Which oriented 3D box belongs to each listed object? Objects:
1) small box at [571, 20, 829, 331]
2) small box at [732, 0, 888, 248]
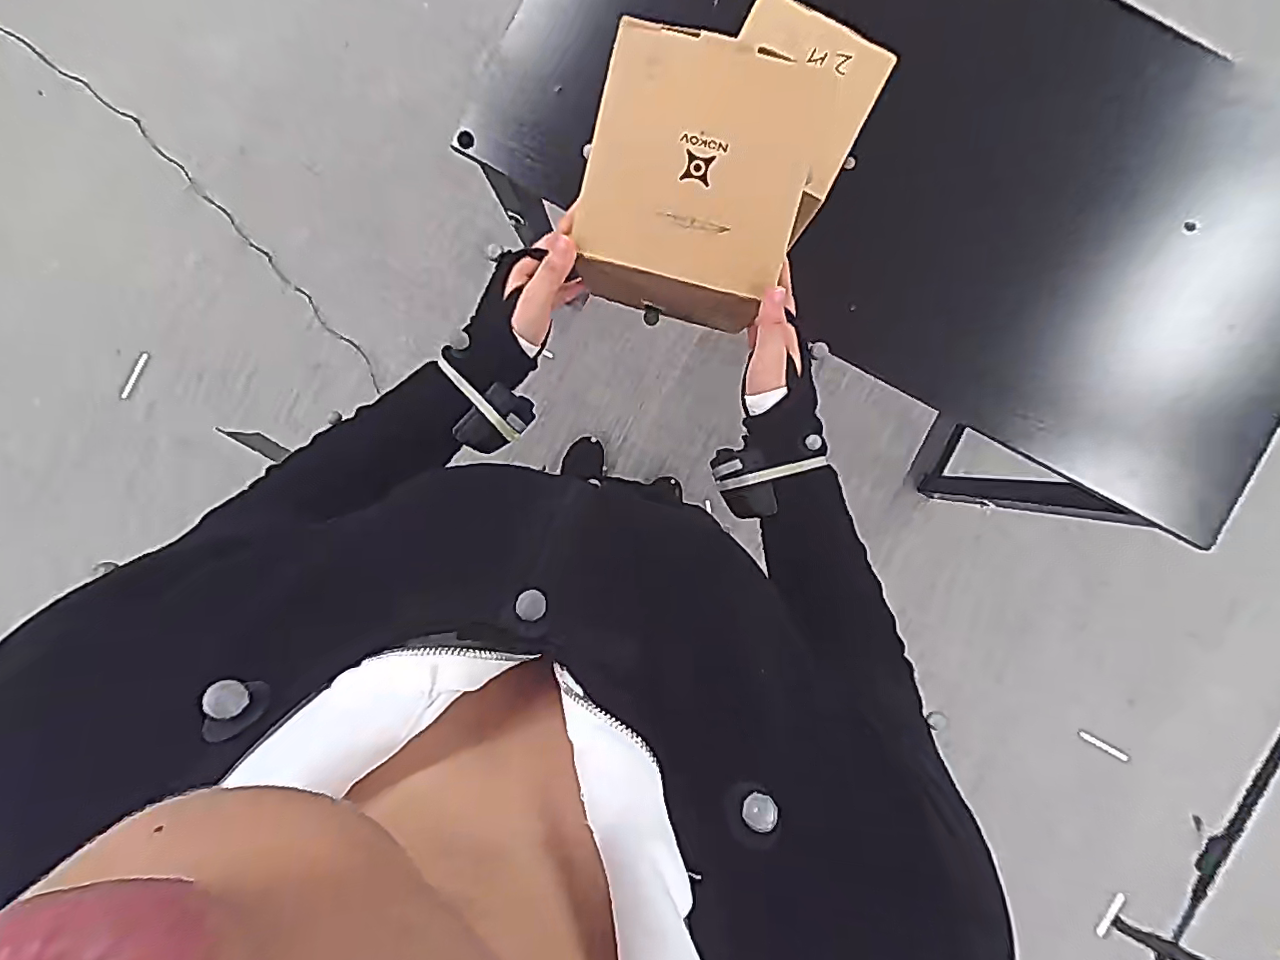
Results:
[{"bbox_3d":[0.046,-0.252,0.496,0.168,0.176,0.179,14,97,0],"label":"small box"},{"bbox_3d":[0.164,-0.422,0.675,0.168,0.176,0.179,27,91,-2],"label":"small box"}]
